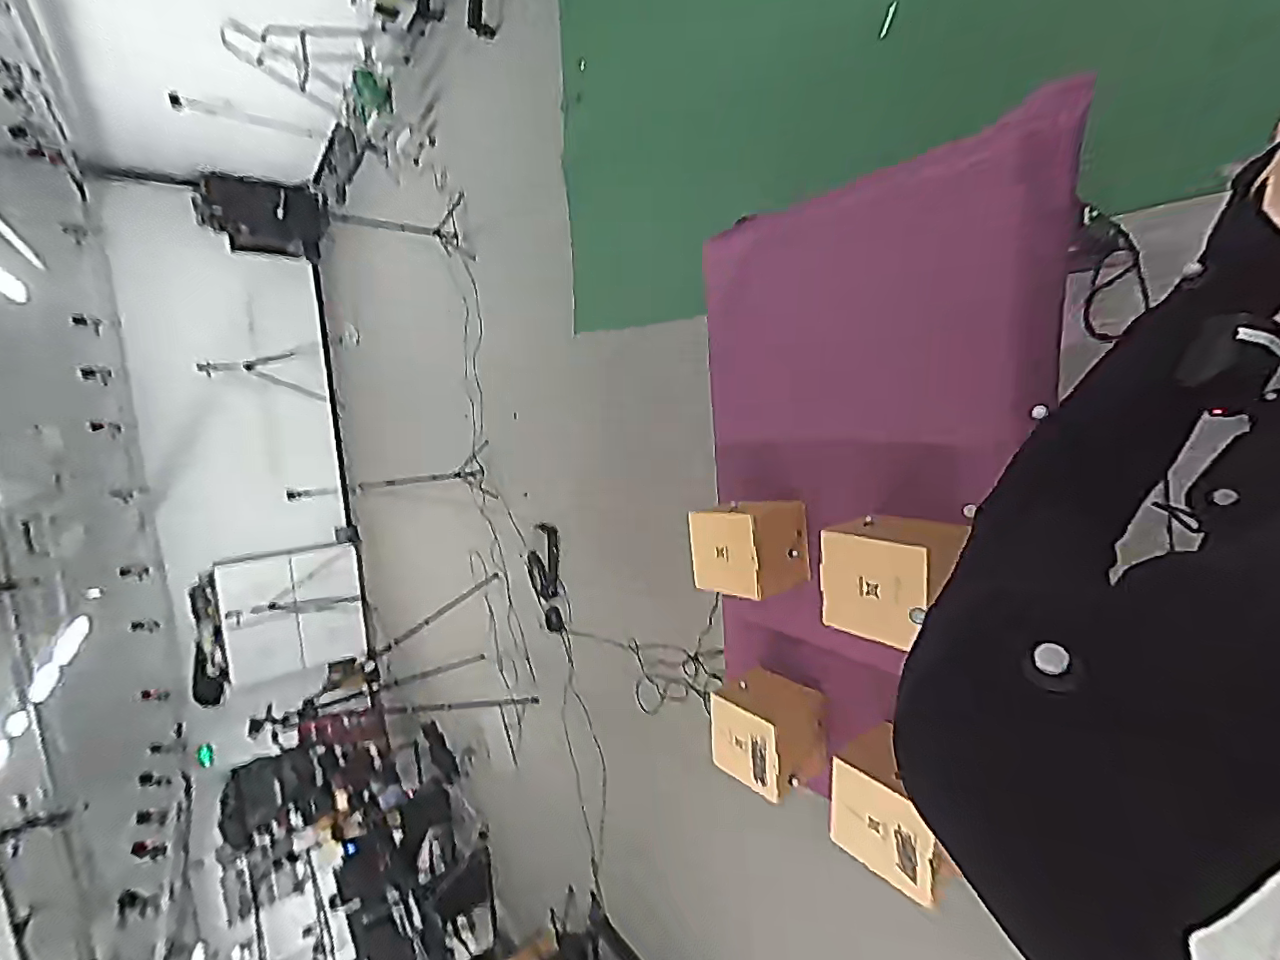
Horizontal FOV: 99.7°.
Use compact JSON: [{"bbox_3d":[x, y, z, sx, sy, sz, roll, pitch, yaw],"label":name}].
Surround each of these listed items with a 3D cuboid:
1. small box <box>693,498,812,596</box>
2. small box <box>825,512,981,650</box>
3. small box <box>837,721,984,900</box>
[{"bbox_3d":[0.235,0.132,1.136,0.179,0.176,0.168,-2,96,51],"label":"small box"},{"bbox_3d":[0.430,0.153,0.892,0.179,0.176,0.168,7,104,52],"label":"small box"},{"bbox_3d":[0.465,0.549,0.931,0.179,0.176,0.168,10,106,52],"label":"small box"}]
